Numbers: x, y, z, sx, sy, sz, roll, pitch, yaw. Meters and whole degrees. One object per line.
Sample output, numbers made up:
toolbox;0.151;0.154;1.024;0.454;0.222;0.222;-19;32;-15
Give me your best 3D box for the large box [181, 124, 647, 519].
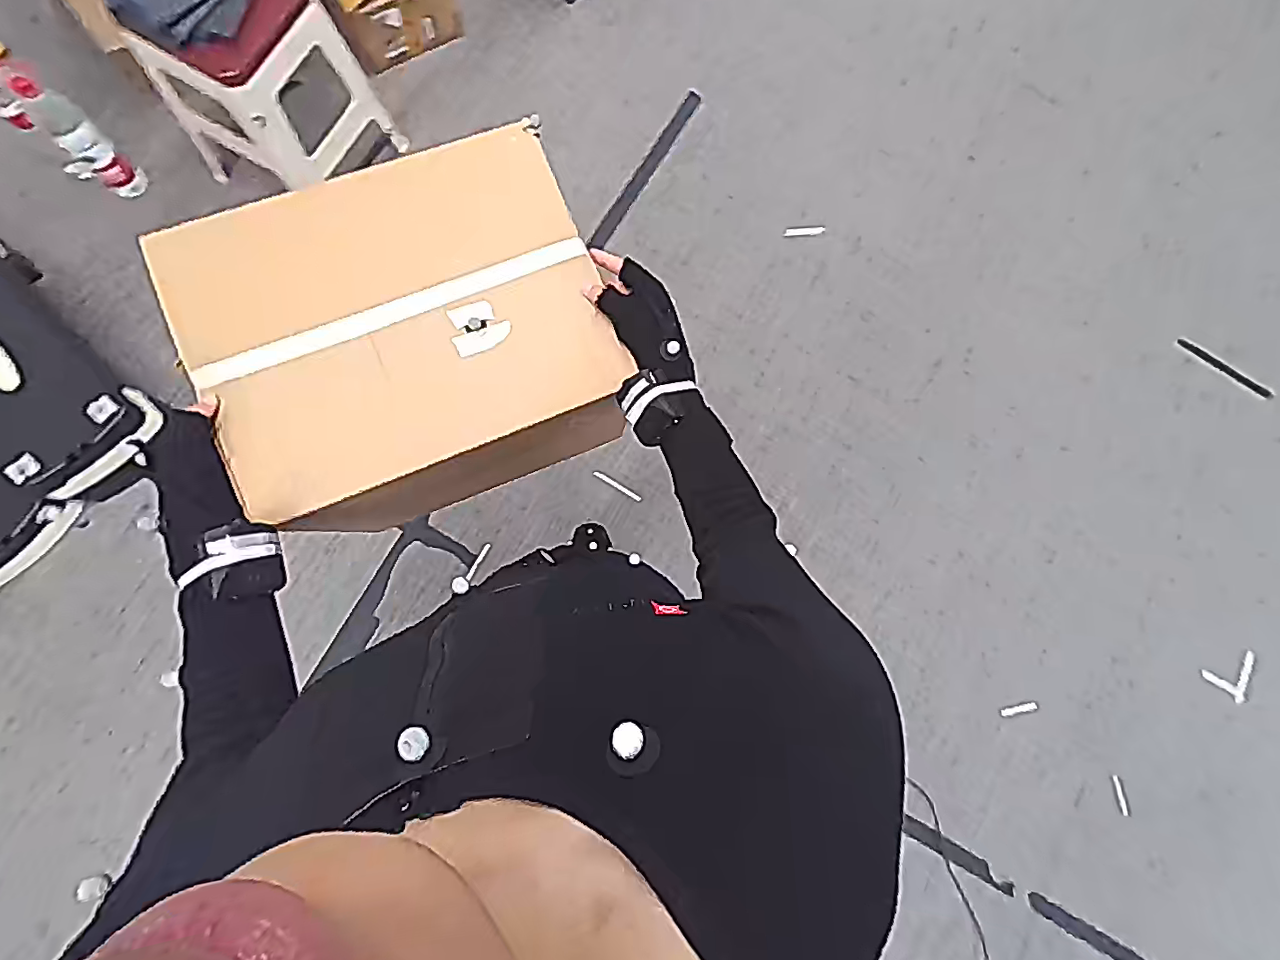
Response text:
large box;-0.246;-0.167;0.711;0.408;0.320;0.320;-21;87;-9
